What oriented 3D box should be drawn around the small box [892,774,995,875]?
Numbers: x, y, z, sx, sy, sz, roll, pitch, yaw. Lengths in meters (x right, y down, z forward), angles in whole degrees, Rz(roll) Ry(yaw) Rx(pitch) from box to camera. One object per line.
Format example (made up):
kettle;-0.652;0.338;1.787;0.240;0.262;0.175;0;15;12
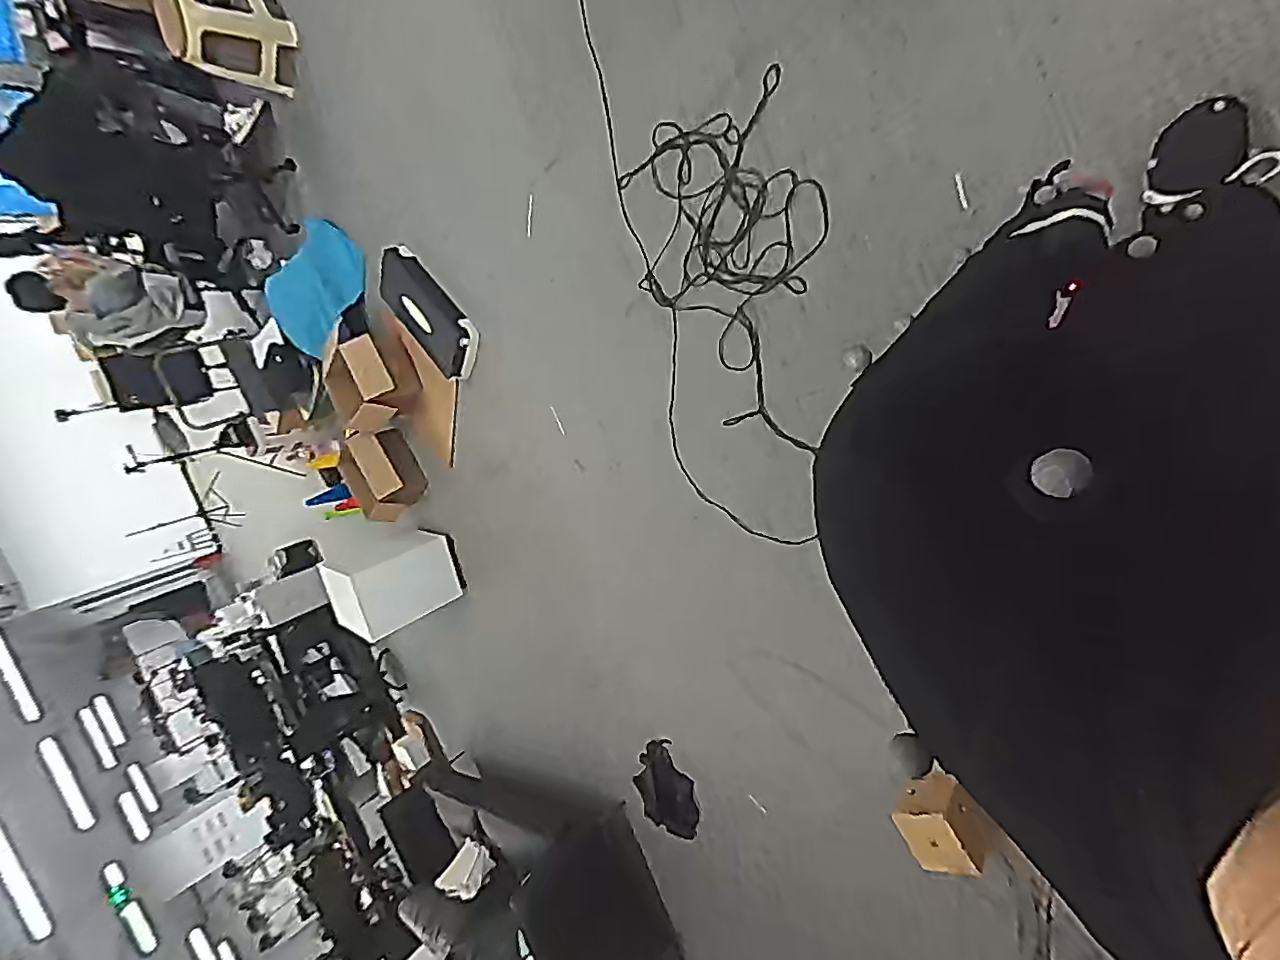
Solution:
small box;0.848;0.948;1.507;0.168;0.176;0.179;-38;82;48
